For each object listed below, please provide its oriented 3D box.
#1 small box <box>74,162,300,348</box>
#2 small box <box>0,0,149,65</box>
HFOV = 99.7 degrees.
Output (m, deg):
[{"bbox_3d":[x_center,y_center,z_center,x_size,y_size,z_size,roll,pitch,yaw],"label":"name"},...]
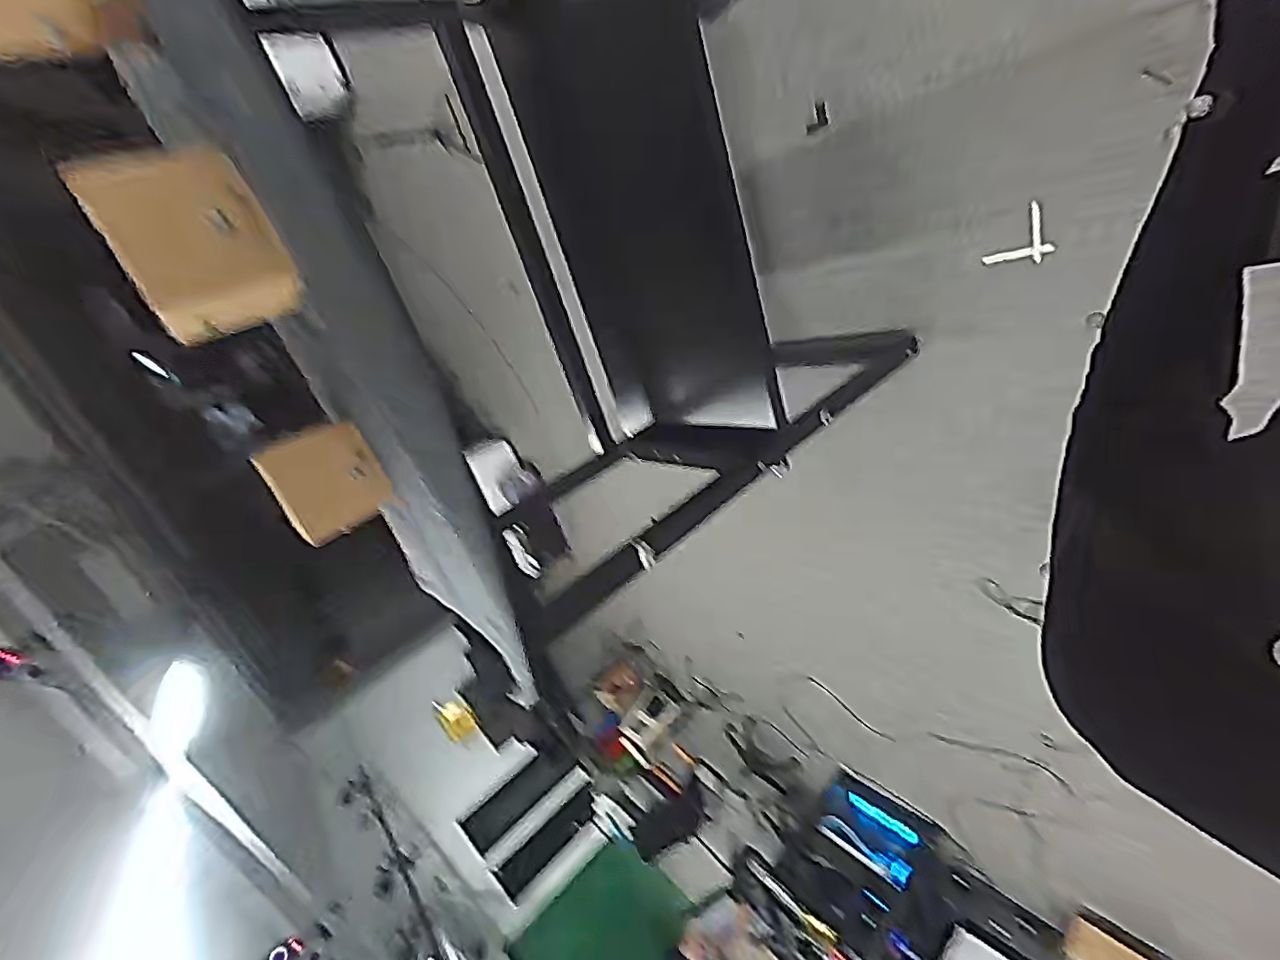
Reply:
[{"bbox_3d":[-0.594,-0.301,0.739,0.179,0.176,0.168,-1,118,56],"label":"small box"},{"bbox_3d":[-0.686,-0.590,0.593,0.179,0.176,0.168,16,132,50],"label":"small box"}]
